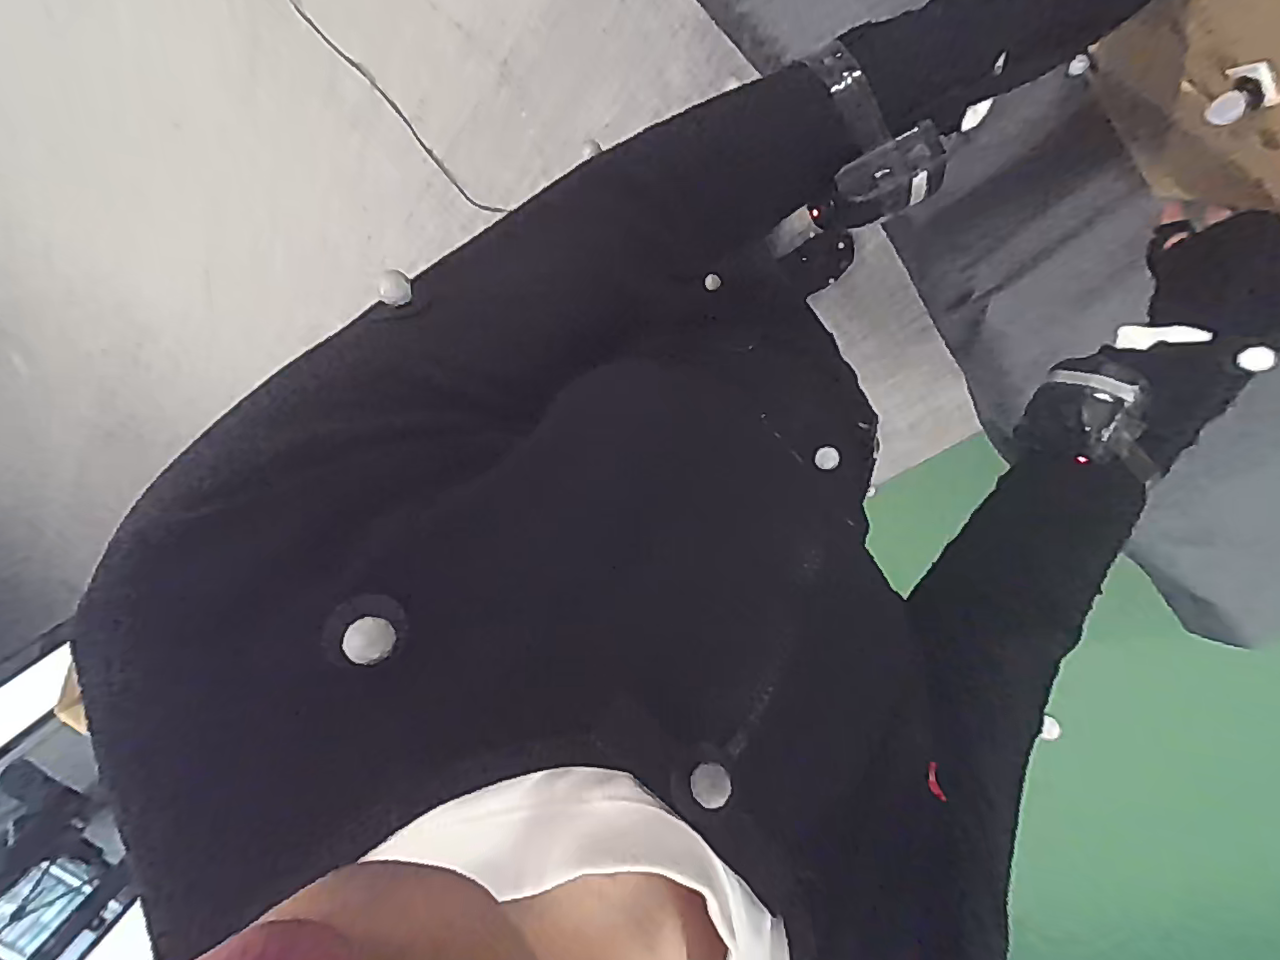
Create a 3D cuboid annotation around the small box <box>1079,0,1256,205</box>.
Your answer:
[{"bbox_3d":[0.416,-0.293,0.330,0.179,0.176,0.168,-36,104,31],"label":"small box"}]

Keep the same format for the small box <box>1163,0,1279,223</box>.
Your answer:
[{"bbox_3d":[0.369,-0.208,0.200,0.168,0.176,0.179,46,124,-11],"label":"small box"}]
